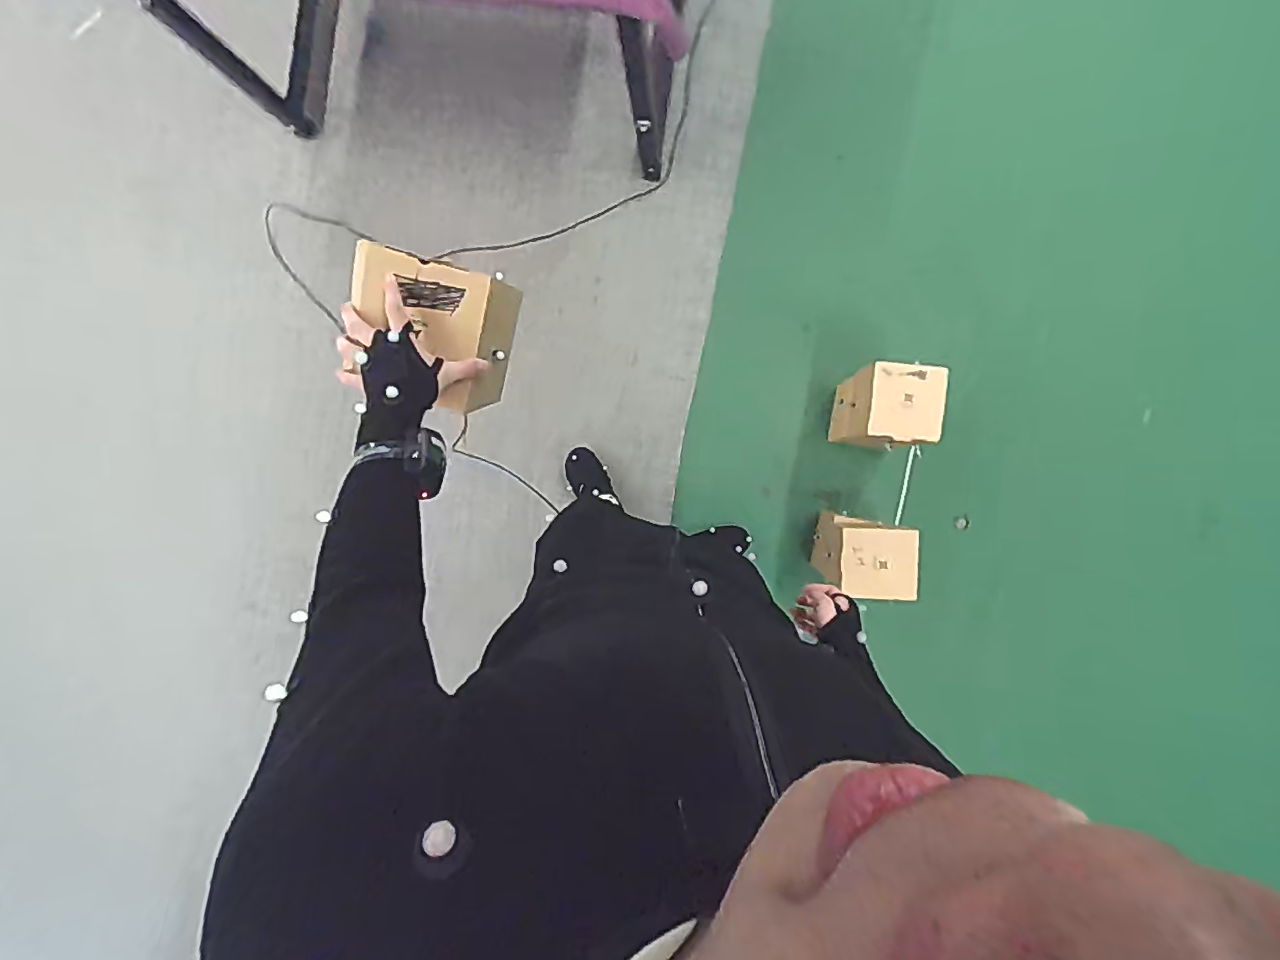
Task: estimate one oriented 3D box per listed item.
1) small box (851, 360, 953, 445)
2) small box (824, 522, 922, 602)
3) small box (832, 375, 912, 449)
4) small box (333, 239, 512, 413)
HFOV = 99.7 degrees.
[{"bbox_3d":[0.629,-0.182,1.321,0.168,0.176,0.179,8,92,5],"label":"small box"},{"bbox_3d":[0.568,0.194,1.334,0.179,0.176,0.168,3,91,7],"label":"small box"},{"bbox_3d":[0.644,-0.181,1.485,0.179,0.176,0.168,10,92,5],"label":"small box"},{"bbox_3d":[-0.288,-0.208,0.747,0.168,0.176,0.179,15,105,-1],"label":"small box"}]
